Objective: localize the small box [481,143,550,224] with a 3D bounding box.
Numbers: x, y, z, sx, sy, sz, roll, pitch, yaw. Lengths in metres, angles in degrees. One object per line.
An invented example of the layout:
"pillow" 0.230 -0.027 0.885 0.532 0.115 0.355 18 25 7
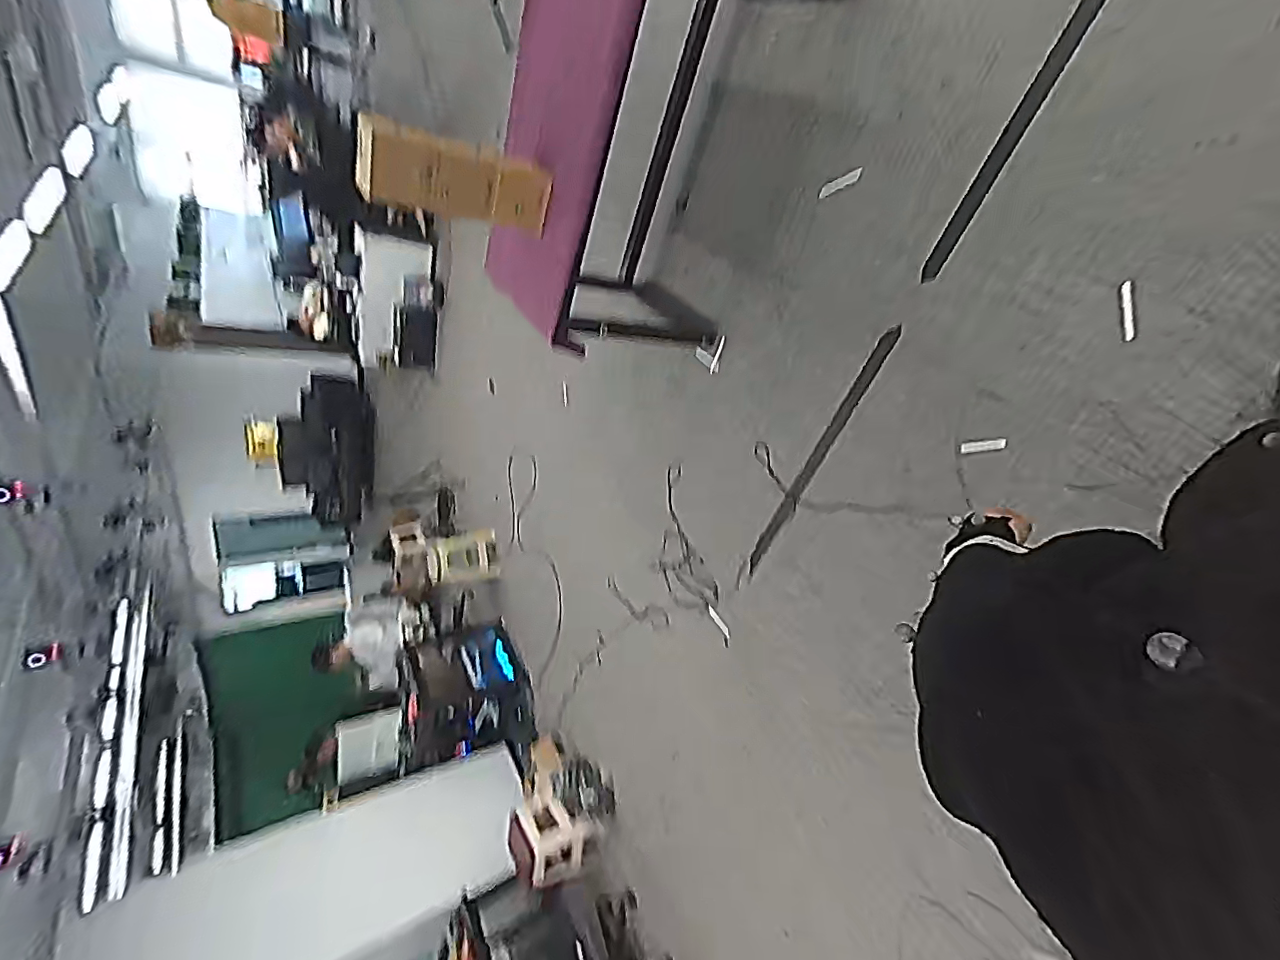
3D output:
"small box" -0.391 -0.896 1.645 0.179 0.176 0.168 52 133 37

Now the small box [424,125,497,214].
"small box" -0.527 -0.886 1.553 0.179 0.176 0.168 52 133 38

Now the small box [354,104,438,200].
"small box" -0.658 -0.875 1.454 0.179 0.176 0.168 51 133 37
